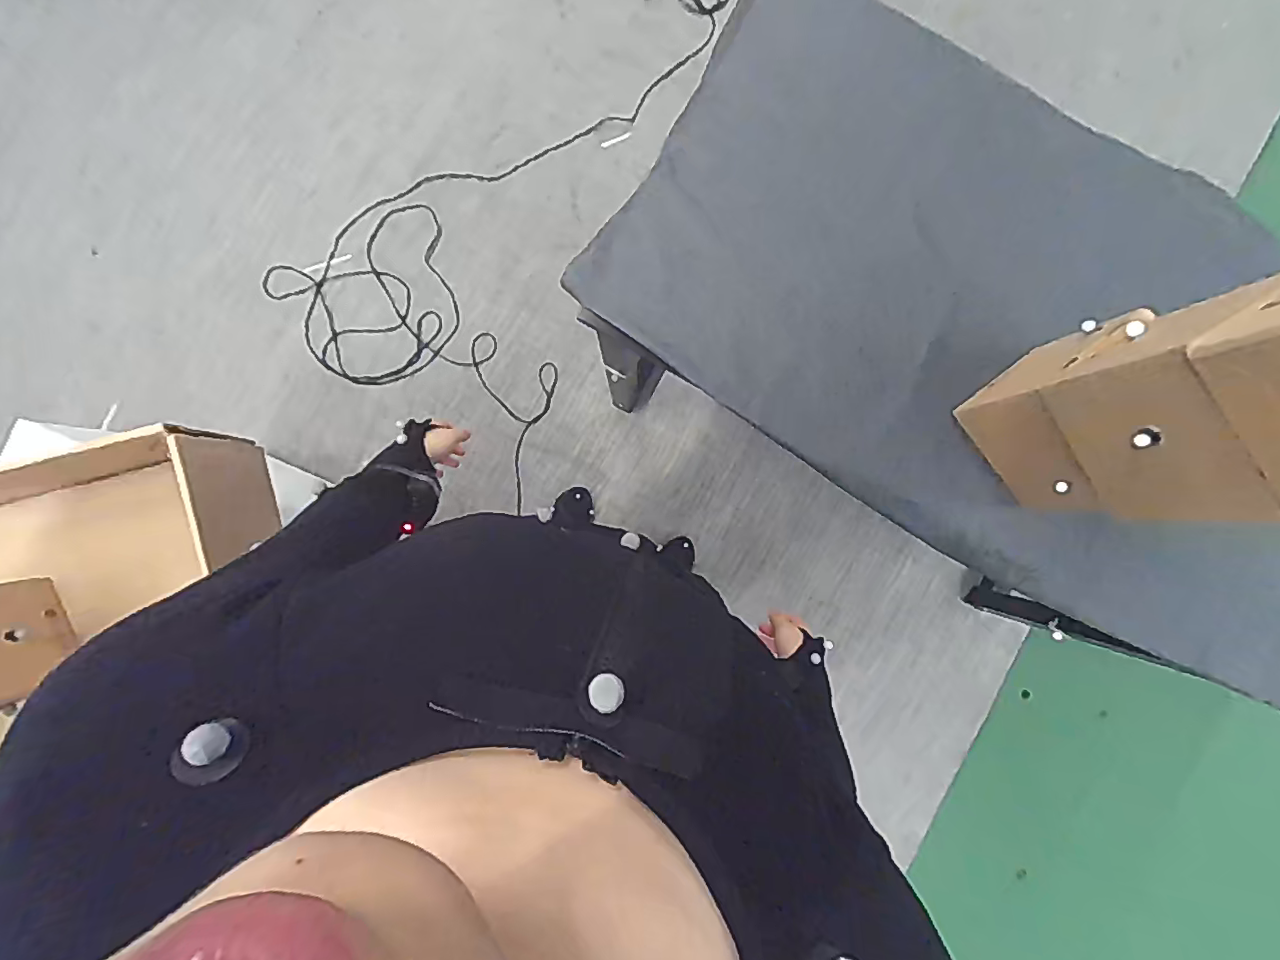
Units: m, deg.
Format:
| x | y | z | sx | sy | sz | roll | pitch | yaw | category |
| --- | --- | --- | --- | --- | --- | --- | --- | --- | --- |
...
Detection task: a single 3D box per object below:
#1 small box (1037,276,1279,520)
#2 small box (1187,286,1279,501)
| x | y | z | sx | sy | sz | roll | pitch | yaw | category |
| --- | --- | --- | --- | --- | --- | --- | --- | --- | --- |
| 0.561 | -0.076 | 0.540 | 0.168 | 0.176 | 0.179 | -29 | 88 | -3 | small box |
| 0.563 | -0.086 | 0.377 | 0.168 | 0.176 | 0.179 | -32 | 89 | -3 | small box |
